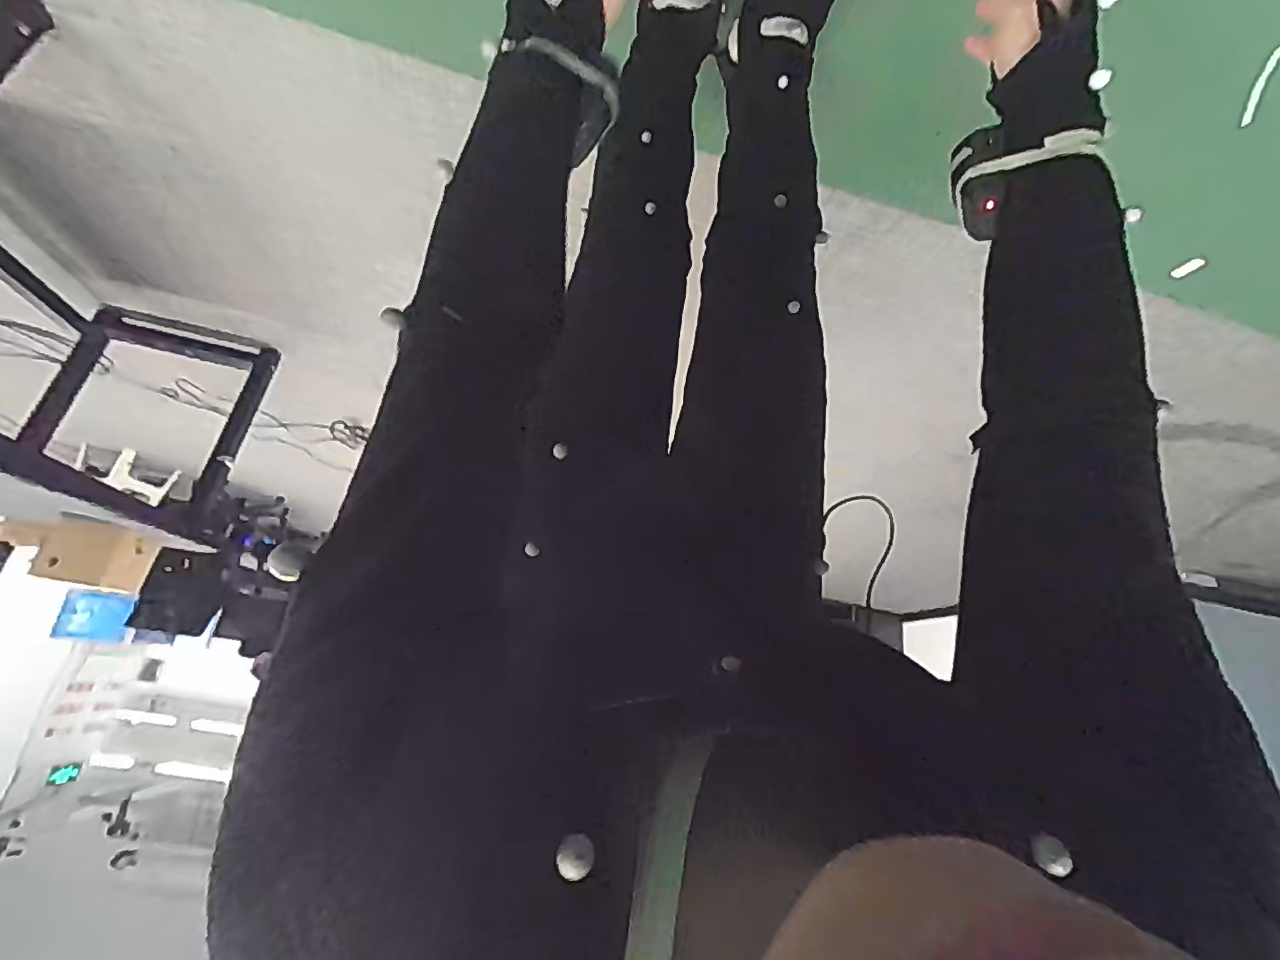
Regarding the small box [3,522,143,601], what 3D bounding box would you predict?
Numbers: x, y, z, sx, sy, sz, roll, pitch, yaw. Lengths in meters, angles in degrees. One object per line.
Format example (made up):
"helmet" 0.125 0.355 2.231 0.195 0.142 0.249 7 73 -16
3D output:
"small box" -1.547 0.223 1.490 0.179 0.176 0.168 13 158 -8
